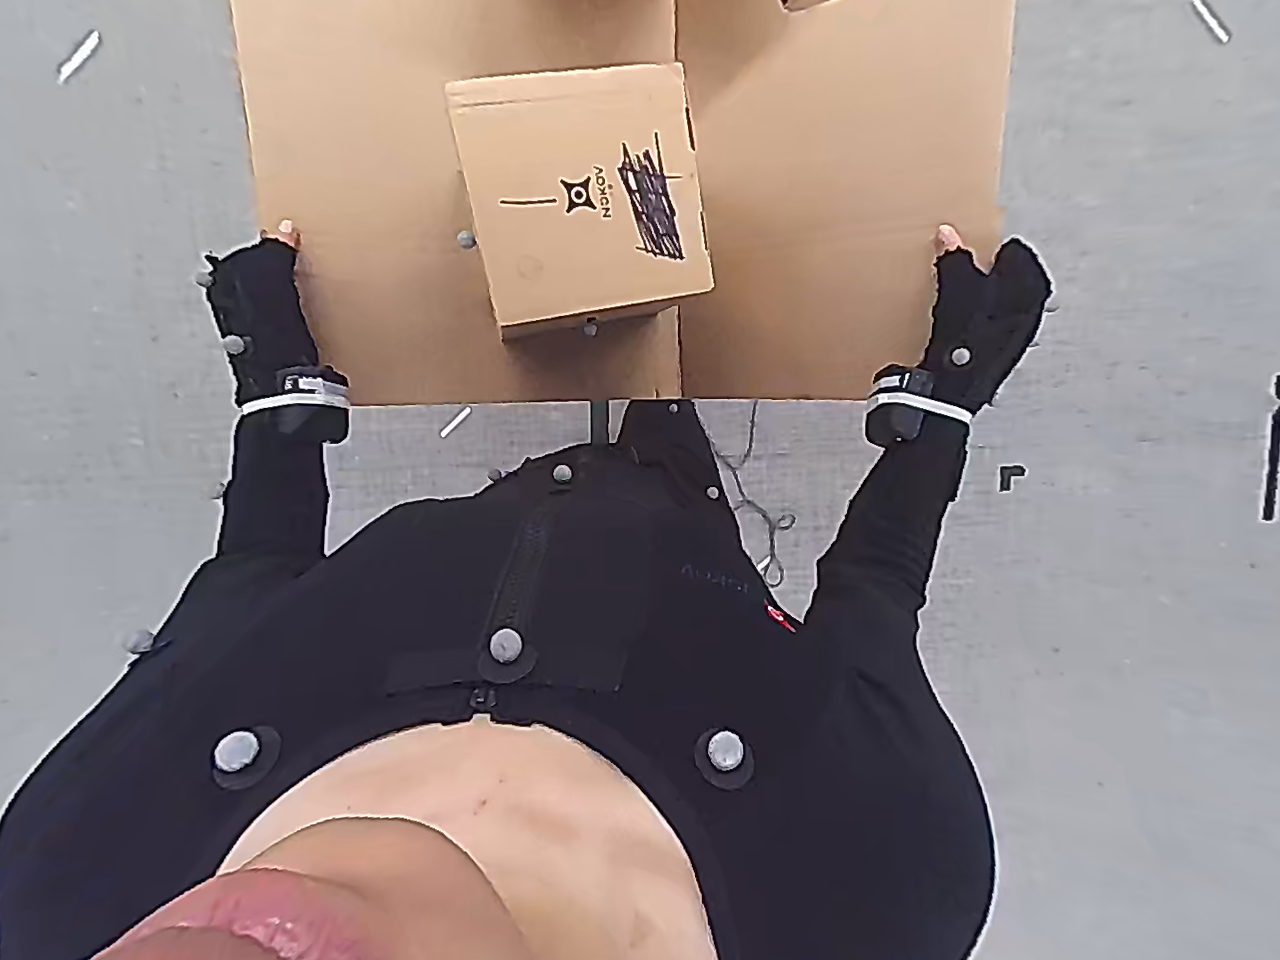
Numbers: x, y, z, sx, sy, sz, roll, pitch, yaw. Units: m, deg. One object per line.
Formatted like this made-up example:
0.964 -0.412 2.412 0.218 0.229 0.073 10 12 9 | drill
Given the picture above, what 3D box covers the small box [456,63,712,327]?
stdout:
-0.053 -0.238 0.489 0.179 0.176 0.168 -13 104 -10 | small box
